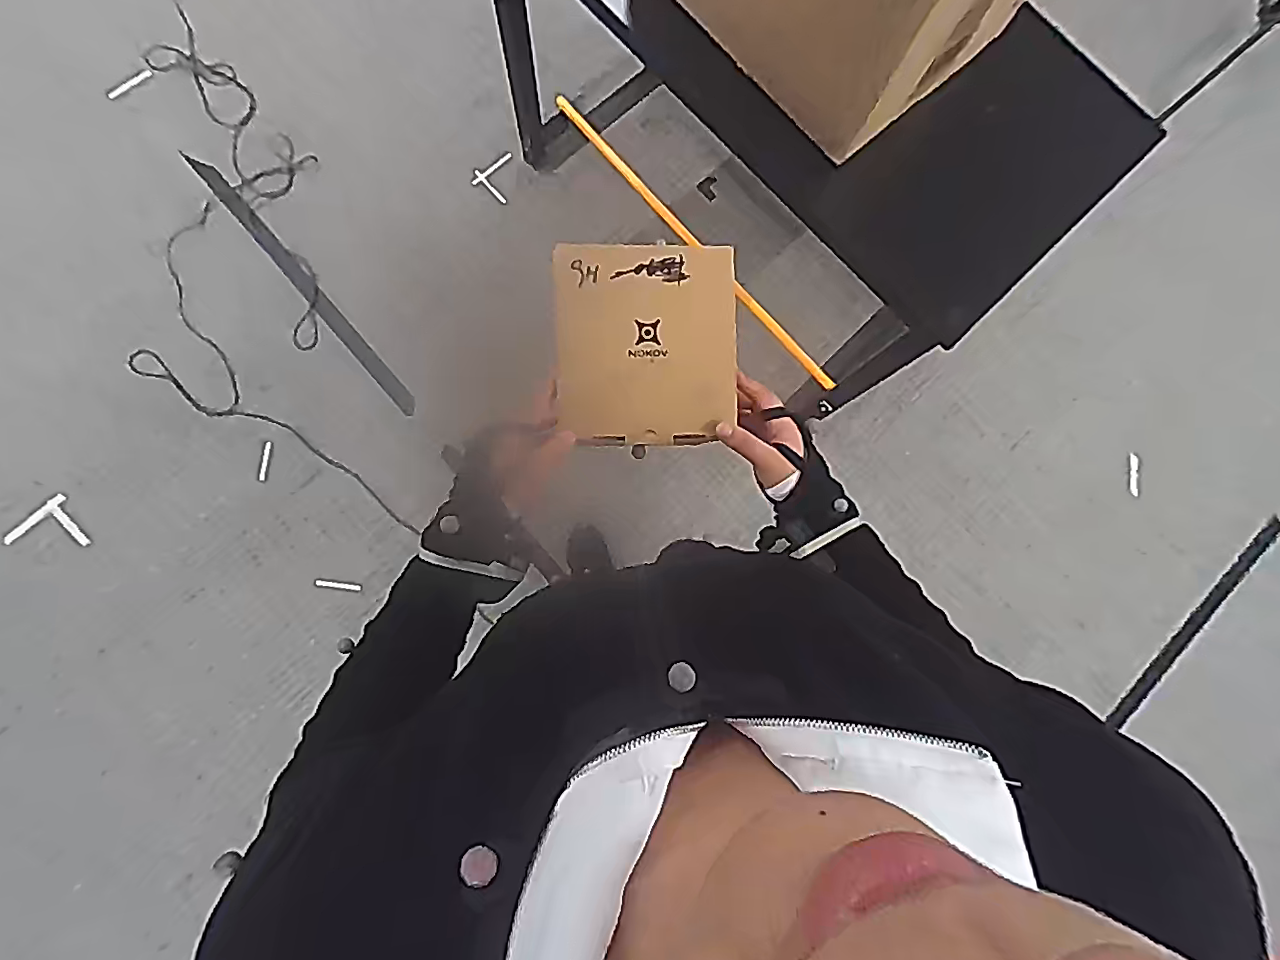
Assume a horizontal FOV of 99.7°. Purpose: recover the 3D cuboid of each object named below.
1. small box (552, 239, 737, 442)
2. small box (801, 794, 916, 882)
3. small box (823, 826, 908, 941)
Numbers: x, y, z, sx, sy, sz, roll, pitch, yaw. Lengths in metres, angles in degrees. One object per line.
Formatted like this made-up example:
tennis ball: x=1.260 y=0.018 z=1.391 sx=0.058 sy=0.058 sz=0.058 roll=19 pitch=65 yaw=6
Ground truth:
small box: x=-0.001 y=-0.128 z=0.558 sx=0.168 sy=0.176 sz=0.179 roll=-2 pitch=93 yaw=-6
small box: x=0.536 y=0.935 z=1.350 sx=0.168 sy=0.176 sz=0.179 roll=44 pitch=82 yaw=3
small box: x=0.543 y=0.915 z=1.187 sx=0.168 sy=0.176 sz=0.179 roll=-42 pitch=86 yaw=-8
